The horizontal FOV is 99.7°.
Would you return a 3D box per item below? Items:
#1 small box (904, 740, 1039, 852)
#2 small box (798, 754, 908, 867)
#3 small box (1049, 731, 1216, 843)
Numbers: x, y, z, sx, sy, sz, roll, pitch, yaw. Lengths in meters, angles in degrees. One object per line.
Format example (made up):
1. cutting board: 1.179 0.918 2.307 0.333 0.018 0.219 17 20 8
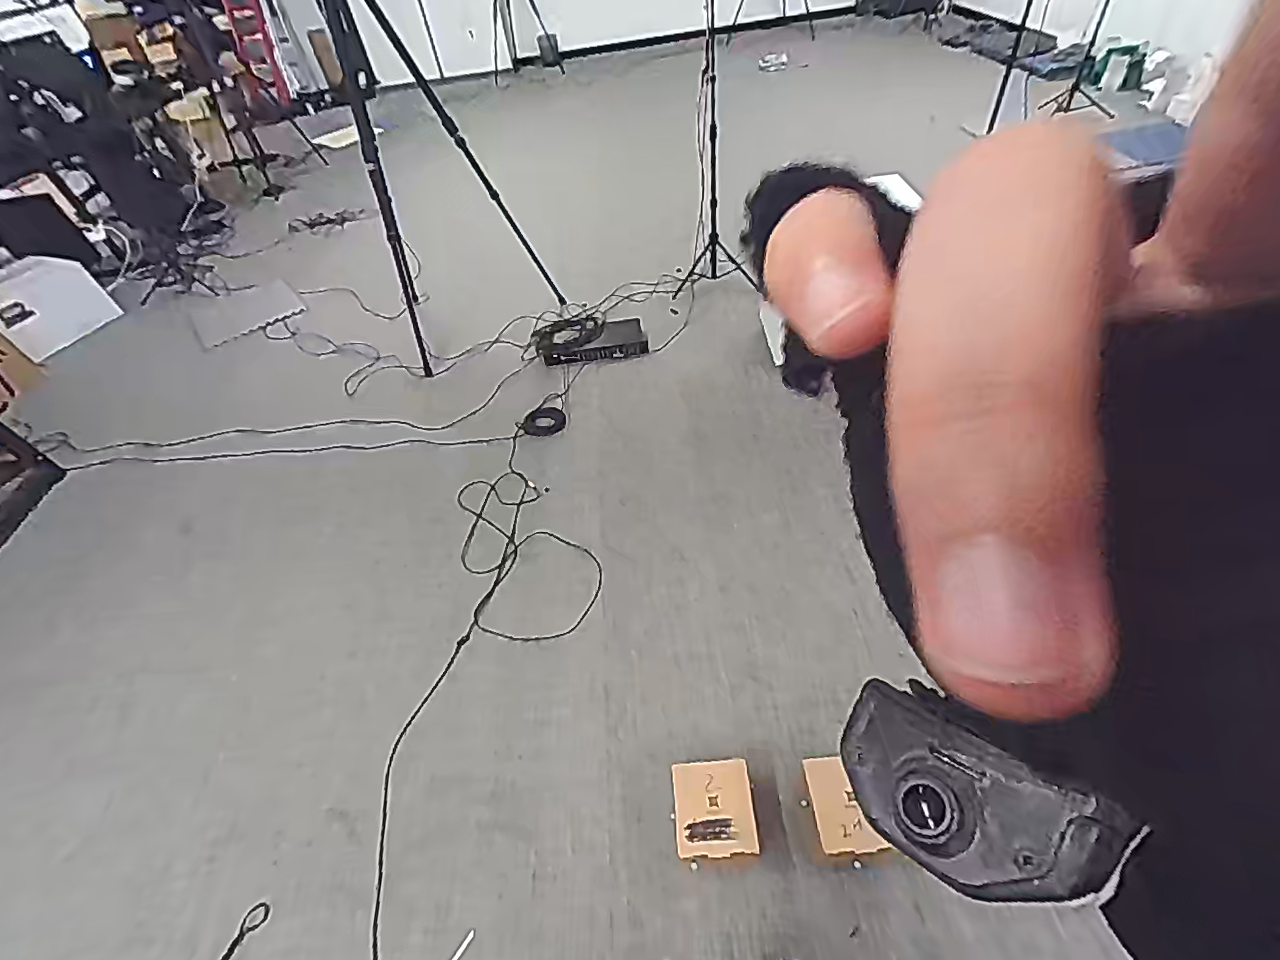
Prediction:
1. small box: 0.701 0.686 1.167 0.168 0.176 0.179 -7 47 1
2. small box: 0.447 0.716 1.171 0.168 0.176 0.179 -7 48 3
3. small box: 1.025 0.653 1.149 0.168 0.176 0.179 -4 48 5
